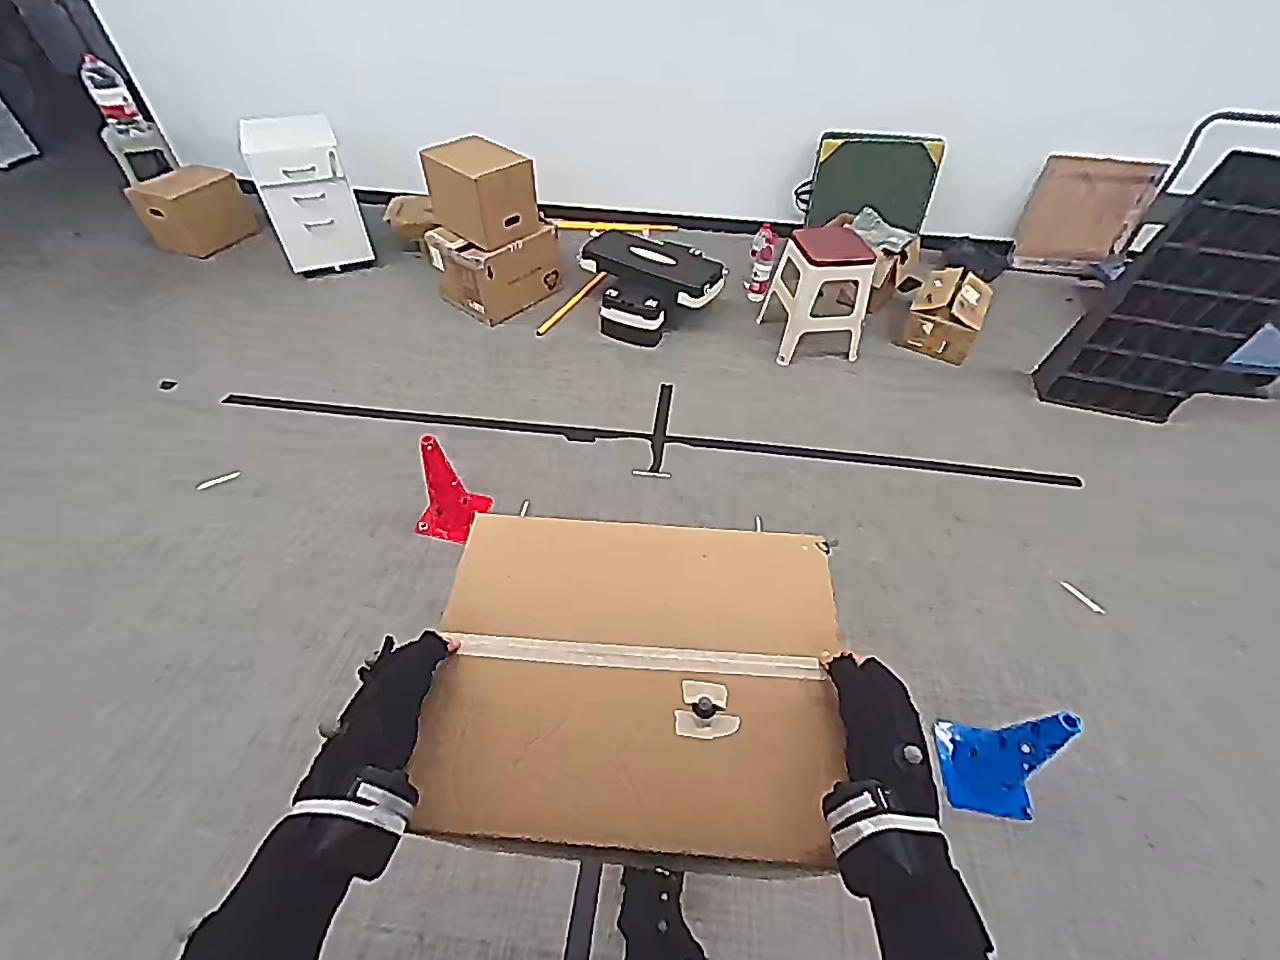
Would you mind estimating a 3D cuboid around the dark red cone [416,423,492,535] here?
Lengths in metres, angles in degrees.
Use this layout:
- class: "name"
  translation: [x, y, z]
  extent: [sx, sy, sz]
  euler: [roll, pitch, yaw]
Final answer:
- class: "dark red cone"
  translation: [-0.609, -0.019, 1.681]
  extent: [0.201, 0.394, 0.202]
  euler: [12, 49, 7]

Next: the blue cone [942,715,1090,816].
- class: "blue cone"
  translation: [0.870, 0.615, 1.230]
  extent: [0.192, 0.380, 0.193]
  euler: [10, 49, 5]

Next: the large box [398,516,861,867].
- class: "large box"
  translation: [-0.005, 0.265, 0.662]
  extent: [0.408, 0.320, 0.320]
  euler: [4, 53, 2]
